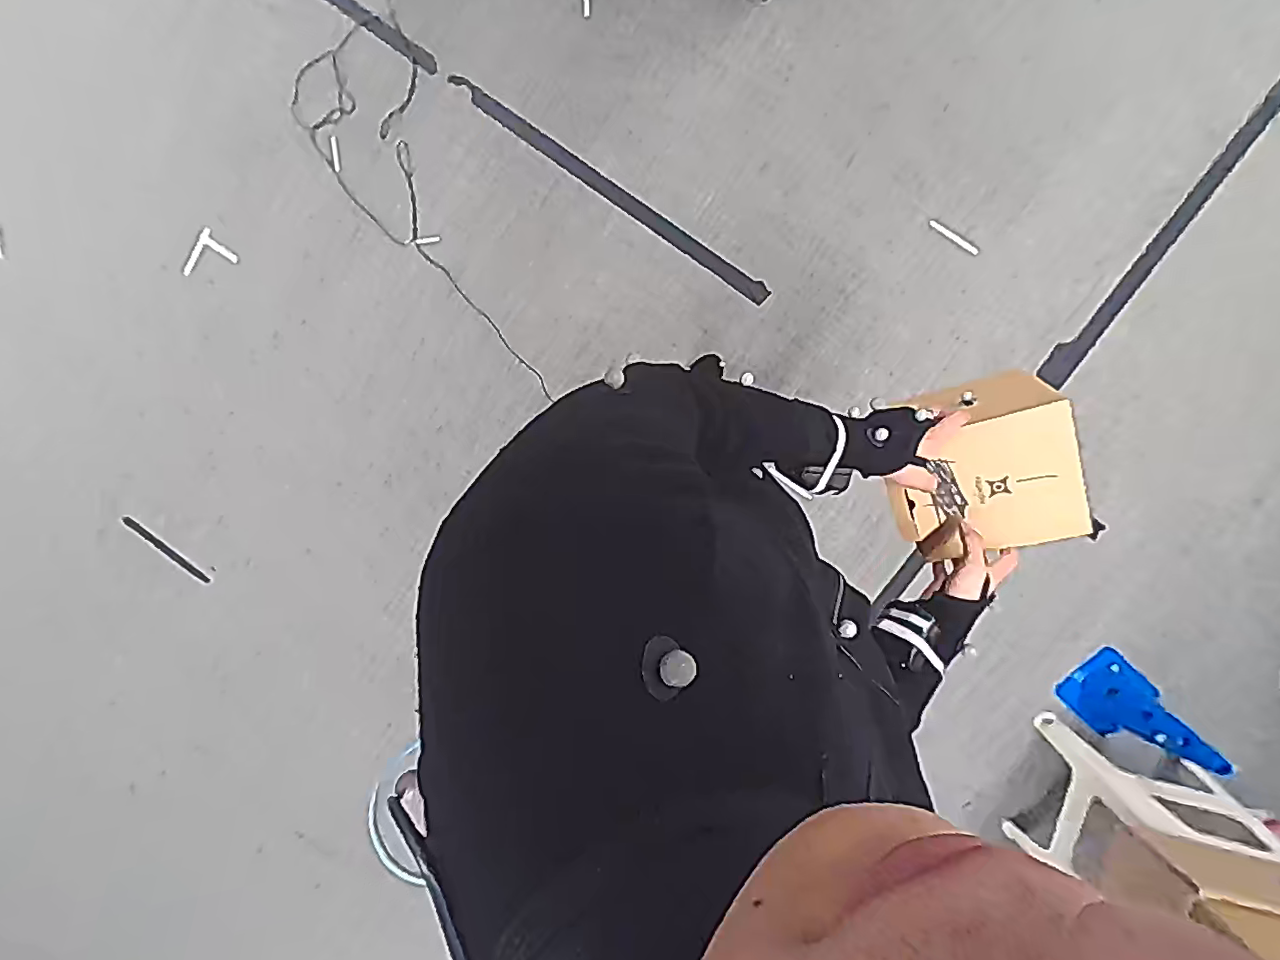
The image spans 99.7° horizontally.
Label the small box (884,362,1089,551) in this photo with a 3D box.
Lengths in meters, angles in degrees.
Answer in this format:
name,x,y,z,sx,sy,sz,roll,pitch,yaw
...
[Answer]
name,x,y,z,sx,sy,sz,roll,pitch,yaw
small box,0.420,-0.034,0.686,0.179,0.176,0.168,-16,107,23
